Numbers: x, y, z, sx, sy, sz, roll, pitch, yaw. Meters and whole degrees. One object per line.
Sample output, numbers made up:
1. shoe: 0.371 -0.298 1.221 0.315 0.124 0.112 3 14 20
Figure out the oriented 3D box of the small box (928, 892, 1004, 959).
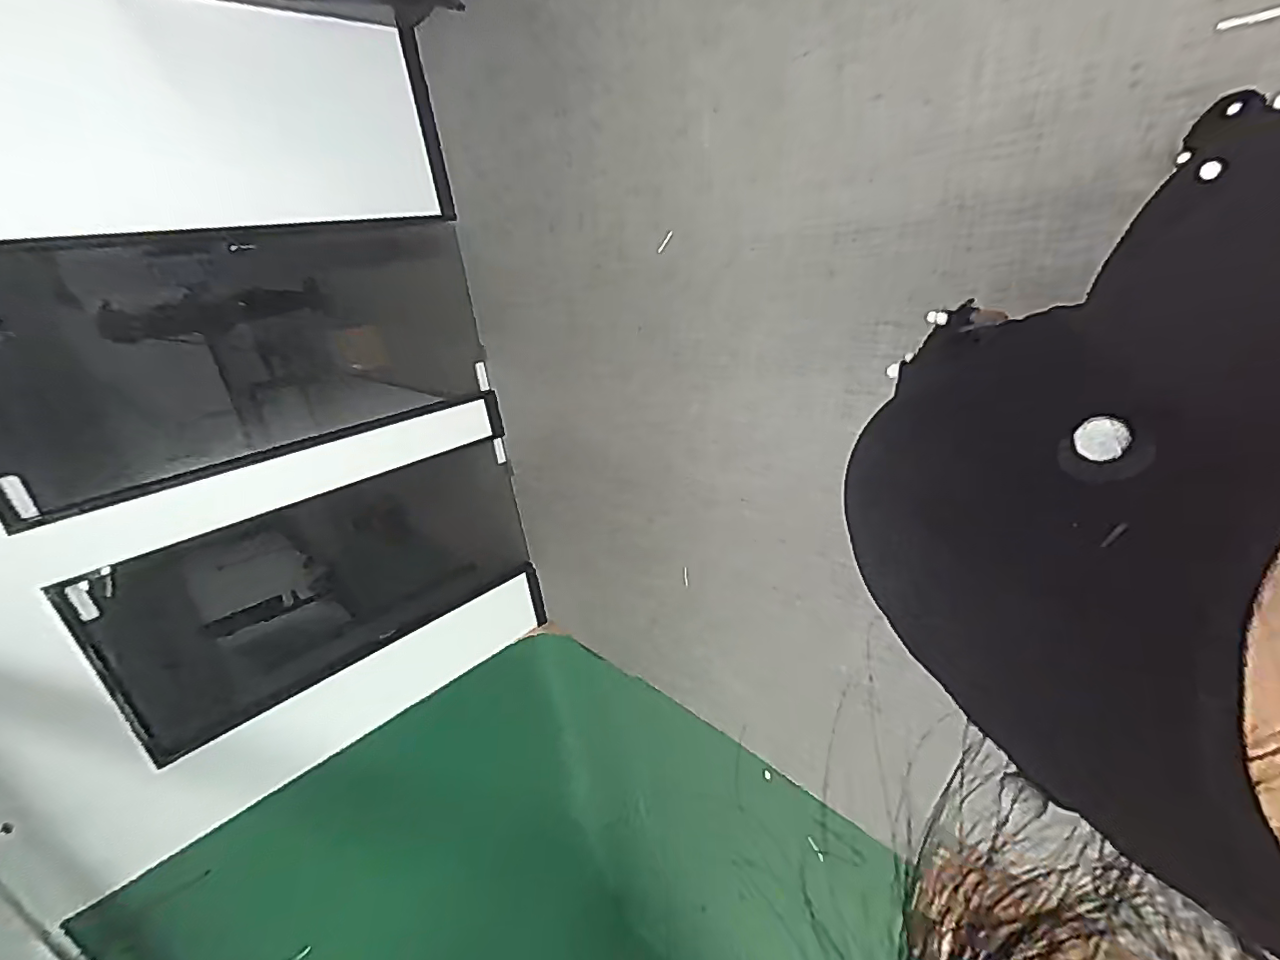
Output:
1. small box: 1.096 1.546 1.813 0.168 0.176 0.179 21 124 41
